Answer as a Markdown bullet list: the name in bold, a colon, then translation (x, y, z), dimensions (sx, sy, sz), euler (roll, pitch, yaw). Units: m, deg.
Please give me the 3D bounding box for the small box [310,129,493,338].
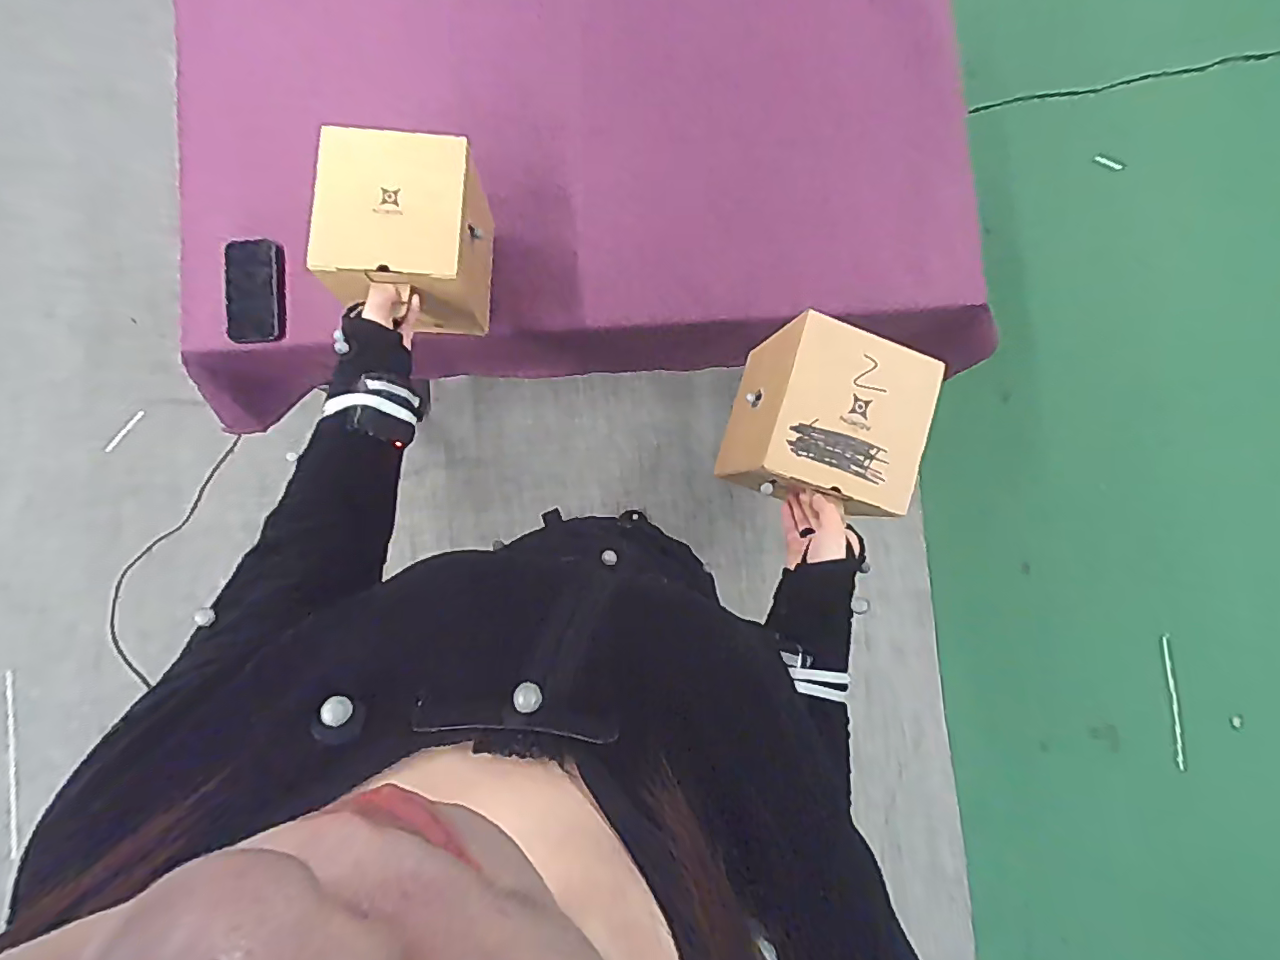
- **small box**: translation (-0.288, -0.301, 0.692), dimensions (0.168, 0.176, 0.179), euler (3, 83, -5)
